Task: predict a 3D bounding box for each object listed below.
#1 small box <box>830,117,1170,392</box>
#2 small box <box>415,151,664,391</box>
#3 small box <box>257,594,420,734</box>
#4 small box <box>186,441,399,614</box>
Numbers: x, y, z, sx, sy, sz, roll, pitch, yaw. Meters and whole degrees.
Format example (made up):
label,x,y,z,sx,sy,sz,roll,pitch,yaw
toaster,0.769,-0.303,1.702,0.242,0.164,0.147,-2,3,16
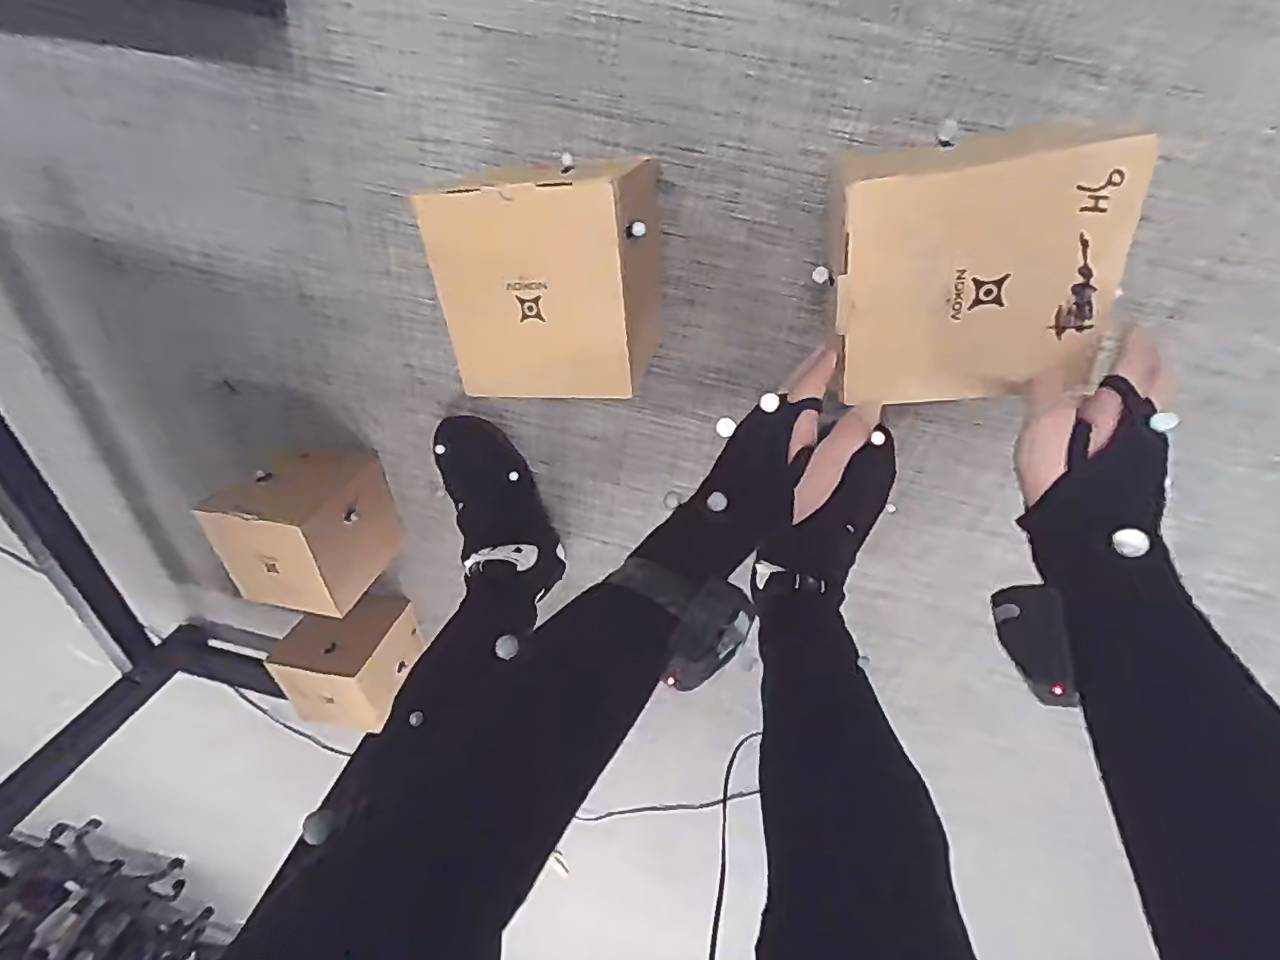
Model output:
label,x,y,z,sx,sy,sz,roll,pitch,yaw
small box,0.253,-0.184,0.441,0.179,0.176,0.168,-1,124,15
small box,-0.073,-0.199,0.510,0.168,0.176,0.179,3,124,12
small box,-0.519,0.319,0.967,0.179,0.176,0.168,6,125,9
small box,-0.482,0.062,0.784,0.168,0.176,0.179,8,126,9
